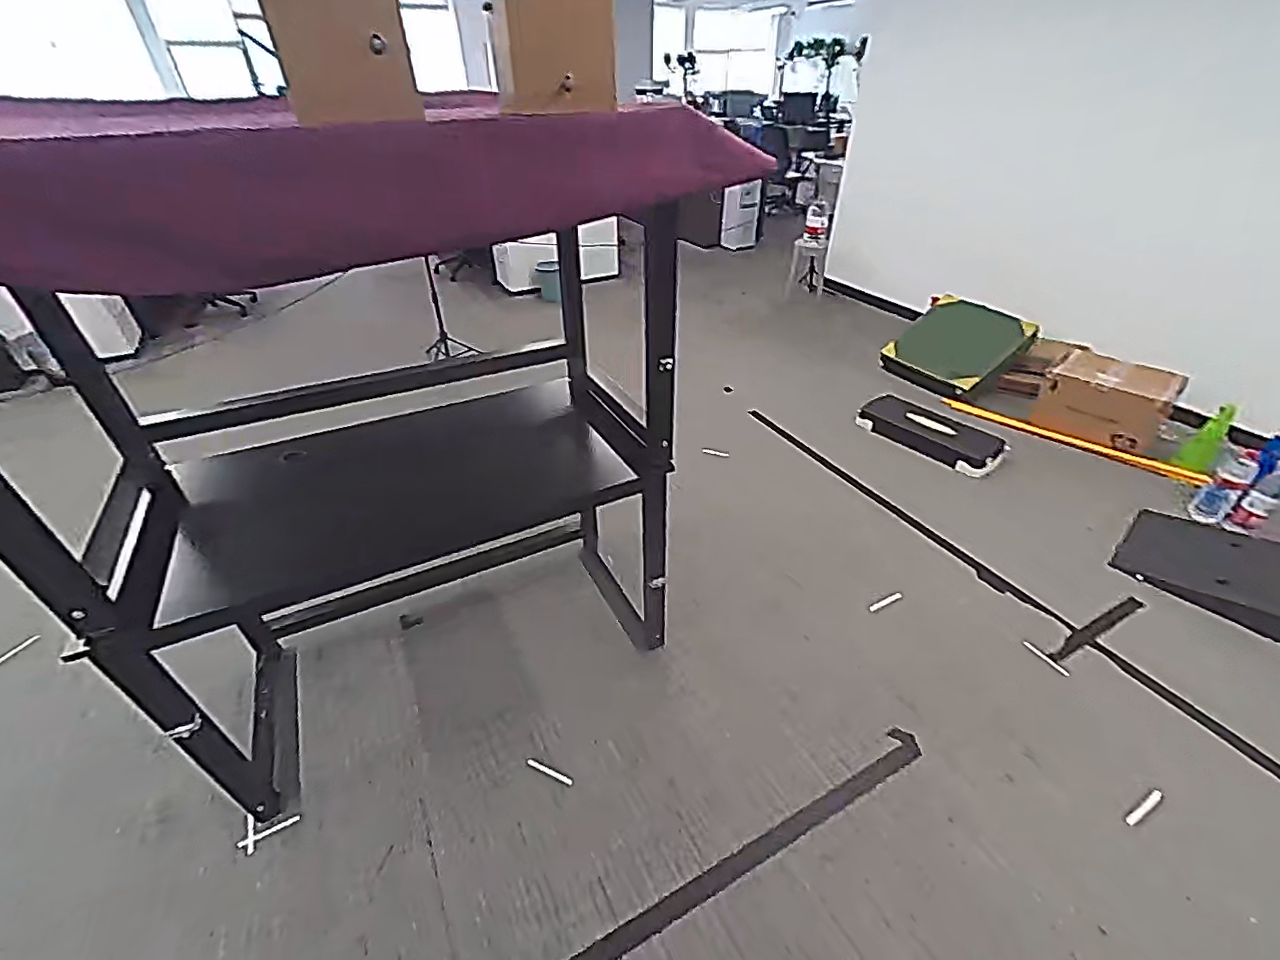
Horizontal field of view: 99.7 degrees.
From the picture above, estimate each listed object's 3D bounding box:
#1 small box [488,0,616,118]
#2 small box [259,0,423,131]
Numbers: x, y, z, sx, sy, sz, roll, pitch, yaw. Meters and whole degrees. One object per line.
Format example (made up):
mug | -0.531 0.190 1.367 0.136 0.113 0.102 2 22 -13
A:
small box | -0.147 -0.719 0.912 0.179 0.176 0.168 -14 37 -17
small box | -0.429 -0.620 0.791 0.179 0.176 0.168 -17 38 -19
